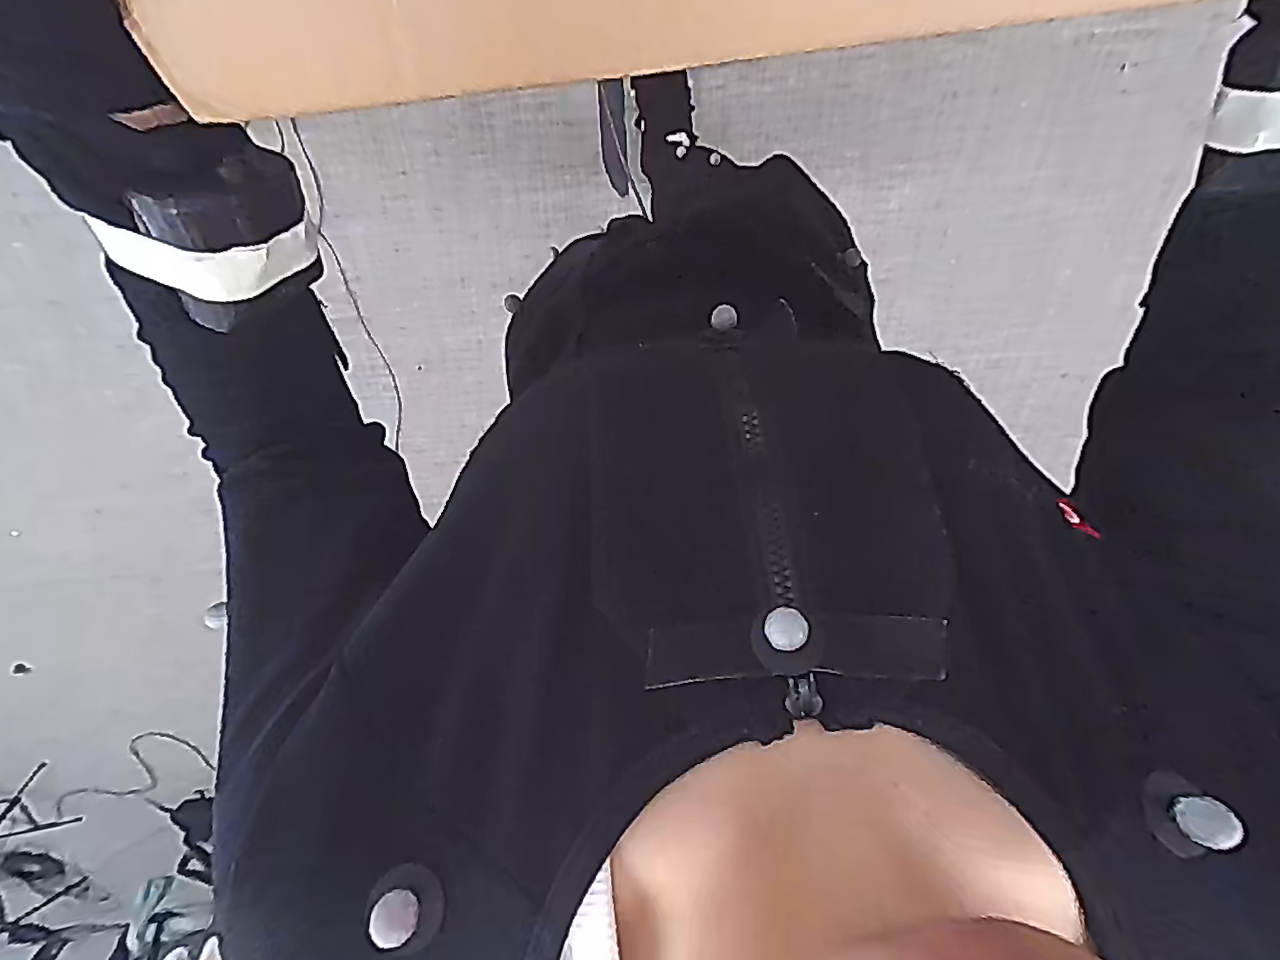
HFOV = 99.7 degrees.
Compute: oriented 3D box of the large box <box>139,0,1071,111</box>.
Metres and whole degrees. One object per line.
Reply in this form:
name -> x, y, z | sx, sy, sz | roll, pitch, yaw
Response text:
large box -> 0.010, -0.371, 0.162 | 0.408, 0.320, 0.320 | -6, 144, 1
